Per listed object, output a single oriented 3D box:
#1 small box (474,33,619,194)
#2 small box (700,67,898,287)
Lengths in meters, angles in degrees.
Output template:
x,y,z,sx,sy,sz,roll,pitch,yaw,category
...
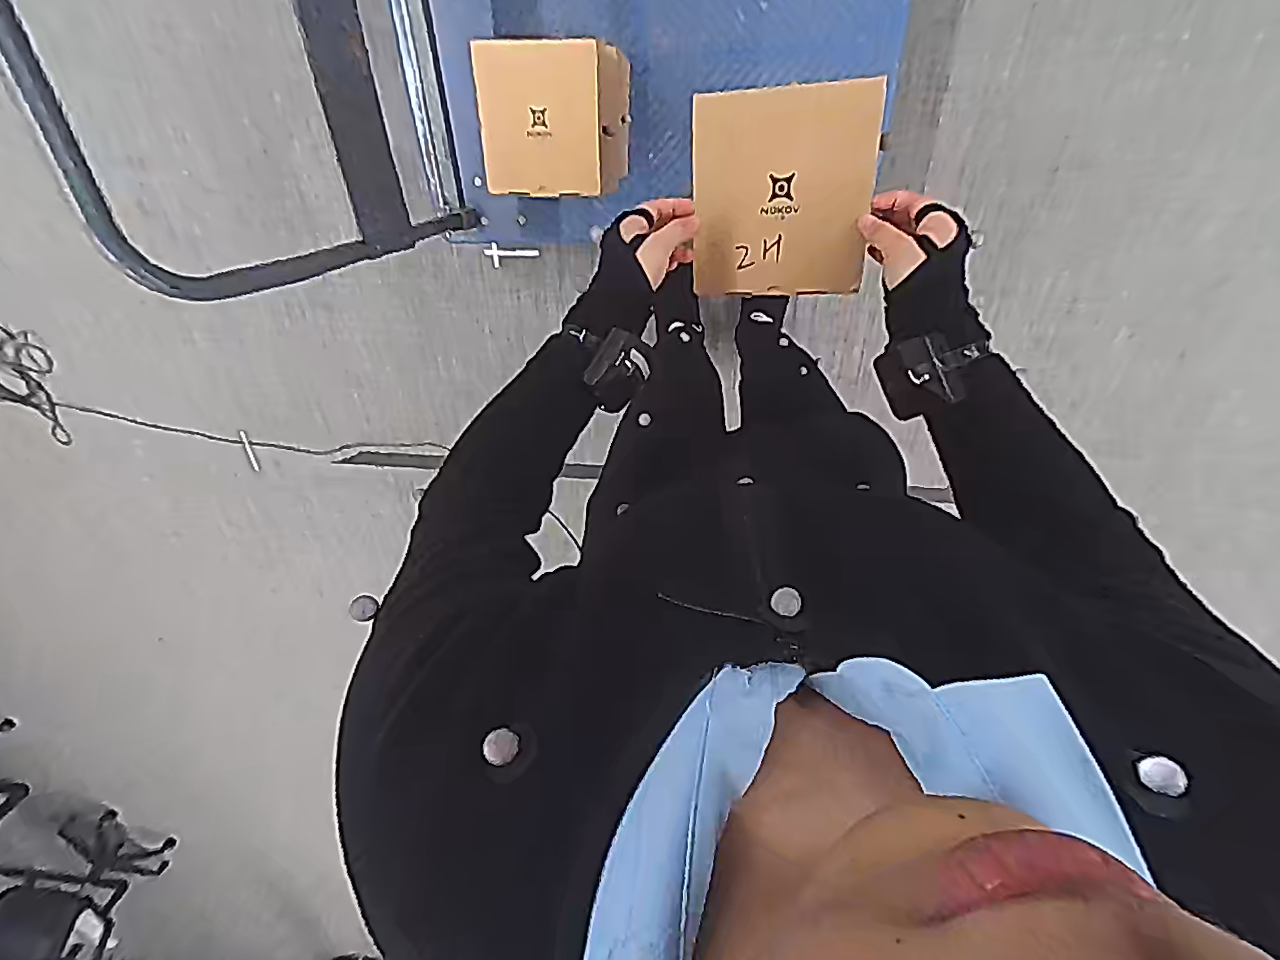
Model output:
x,y,z,sx,sy,sz,roll,pitch,yaw,category
-0.123,-0.520,0.782,0.168,0.176,0.179,3,123,5,small box
0.156,-0.307,0.571,0.168,0.176,0.179,4,119,13,small box
